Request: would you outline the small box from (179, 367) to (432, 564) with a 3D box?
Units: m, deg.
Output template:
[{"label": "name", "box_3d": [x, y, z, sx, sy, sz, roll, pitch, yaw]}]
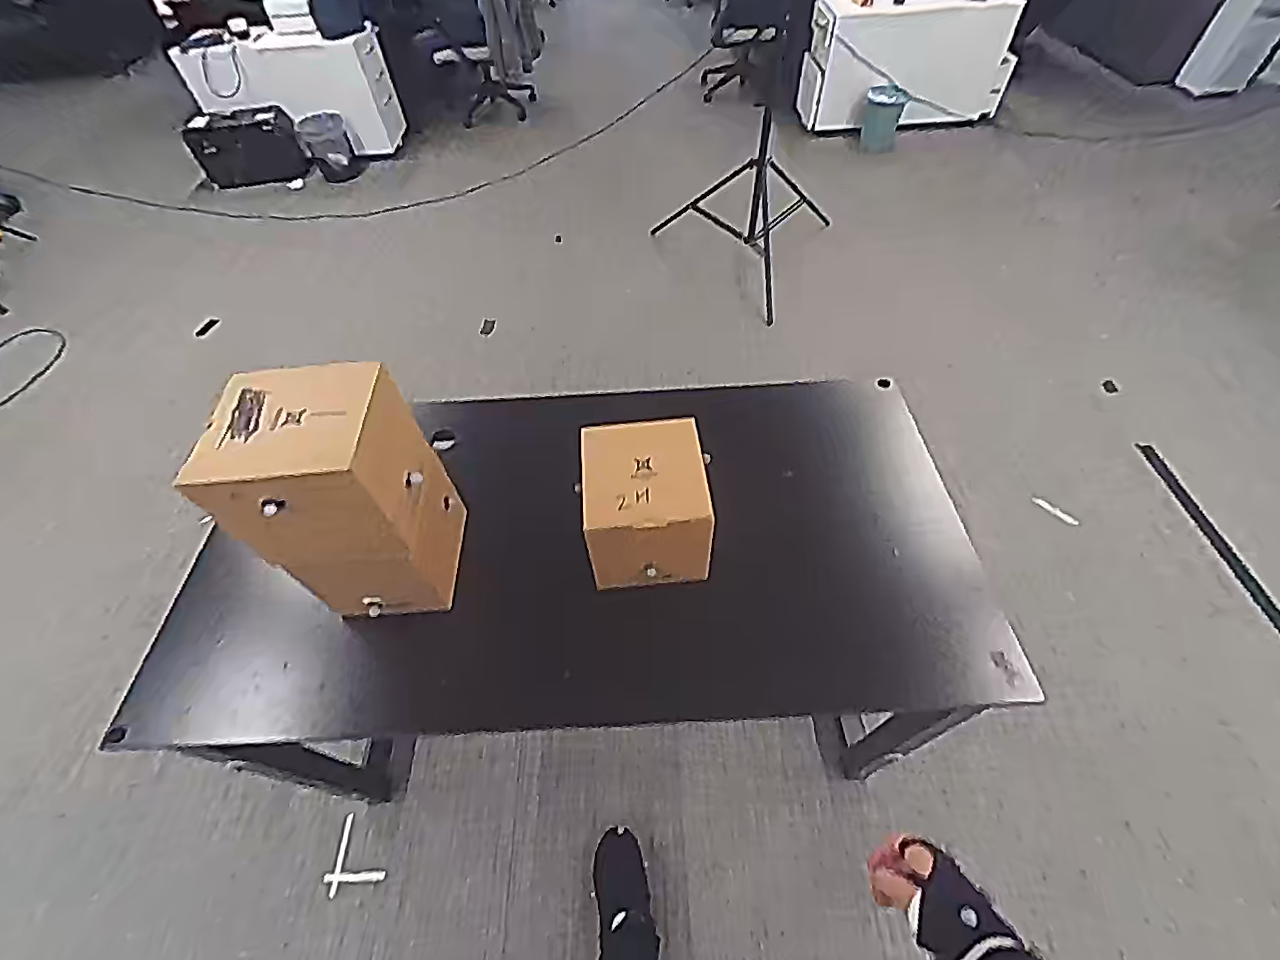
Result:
[{"label": "small box", "box_3d": [-0.375, -0.011, 0.648, 0.179, 0.176, 0.168, -6, 53, -1]}]

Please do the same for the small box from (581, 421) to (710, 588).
[{"label": "small box", "box_3d": [0.004, 0.038, 0.793, 0.168, 0.176, 0.179, -6, 53, -1]}]

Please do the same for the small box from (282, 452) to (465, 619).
[{"label": "small box", "box_3d": [-0.365, 0.083, 0.783, 0.168, 0.176, 0.179, -5, 53, 1]}]
